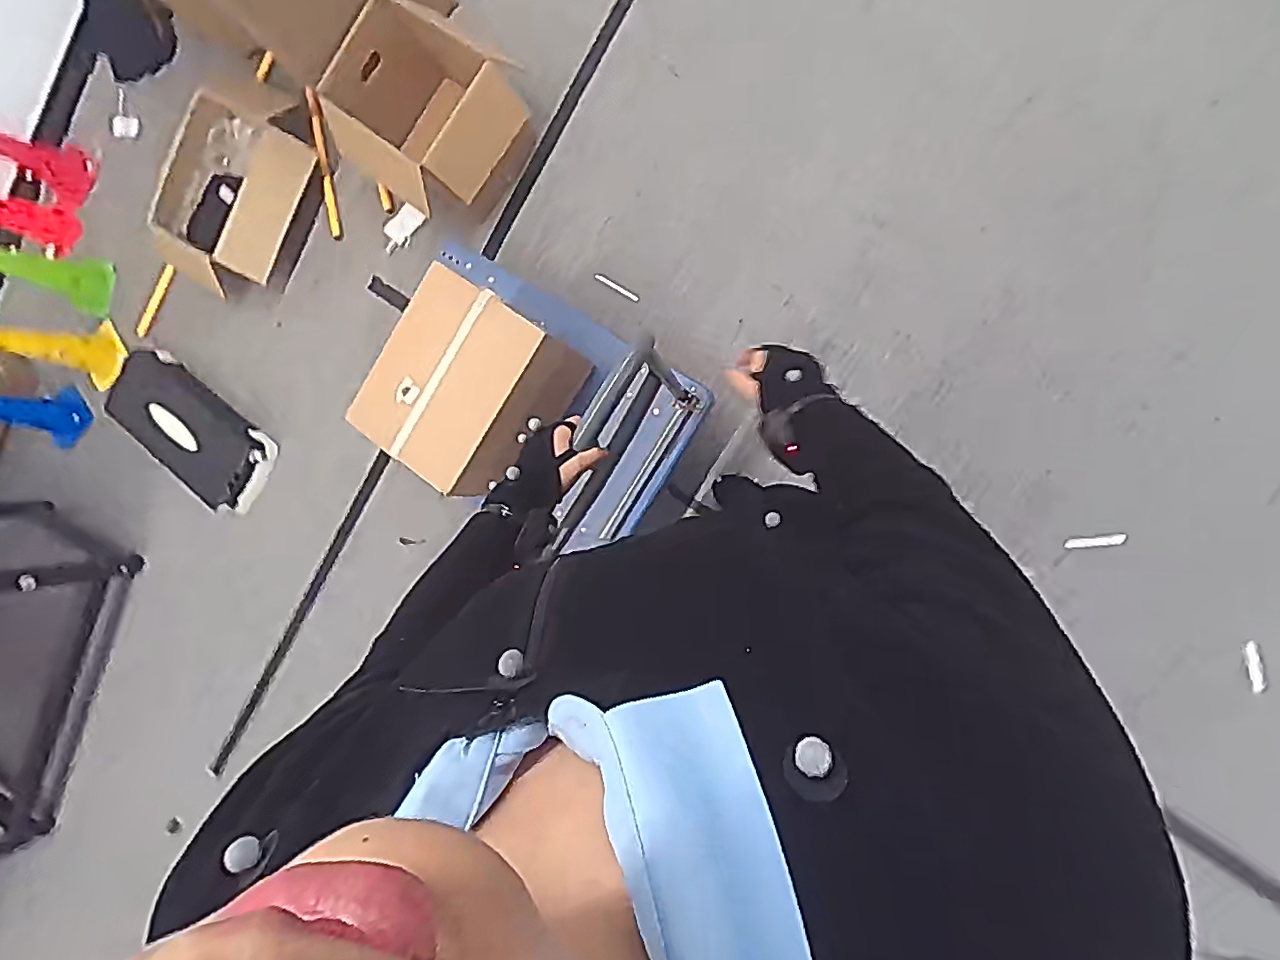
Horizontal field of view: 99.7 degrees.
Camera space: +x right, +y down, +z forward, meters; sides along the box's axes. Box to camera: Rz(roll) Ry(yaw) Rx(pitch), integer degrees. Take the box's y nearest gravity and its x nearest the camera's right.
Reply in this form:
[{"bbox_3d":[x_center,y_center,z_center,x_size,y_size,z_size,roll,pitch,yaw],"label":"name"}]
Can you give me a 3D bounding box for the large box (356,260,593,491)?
[{"bbox_3d":[-0.374,-0.227,1.292,0.320,0.320,0.408,35,98,12],"label":"large box"}]
